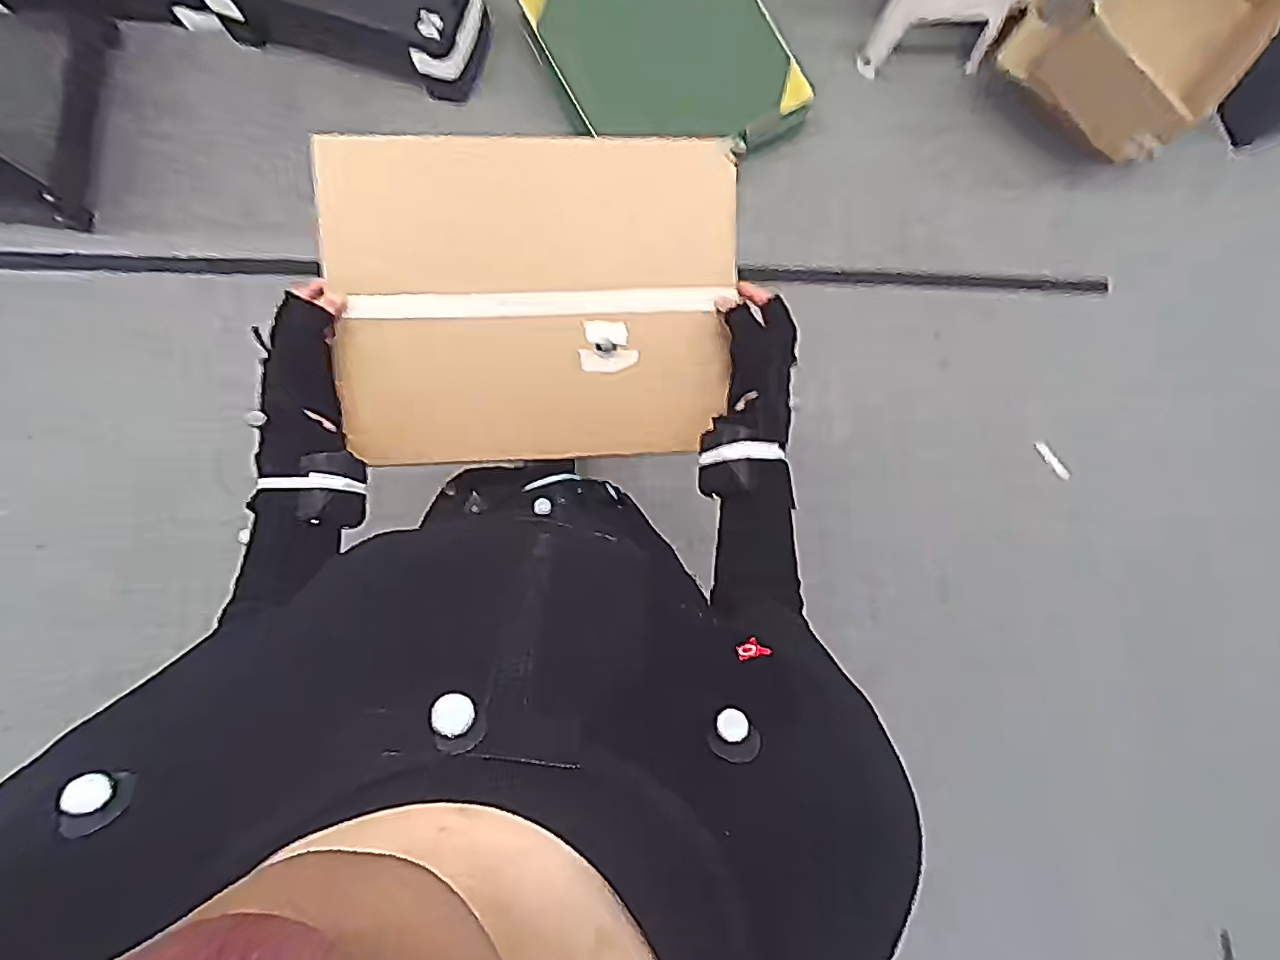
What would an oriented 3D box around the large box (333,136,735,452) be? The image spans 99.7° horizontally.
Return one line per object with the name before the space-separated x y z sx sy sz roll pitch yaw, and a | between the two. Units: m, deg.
large box | -0.115 -0.207 0.707 0.408 0.320 0.320 -2 97 -6
